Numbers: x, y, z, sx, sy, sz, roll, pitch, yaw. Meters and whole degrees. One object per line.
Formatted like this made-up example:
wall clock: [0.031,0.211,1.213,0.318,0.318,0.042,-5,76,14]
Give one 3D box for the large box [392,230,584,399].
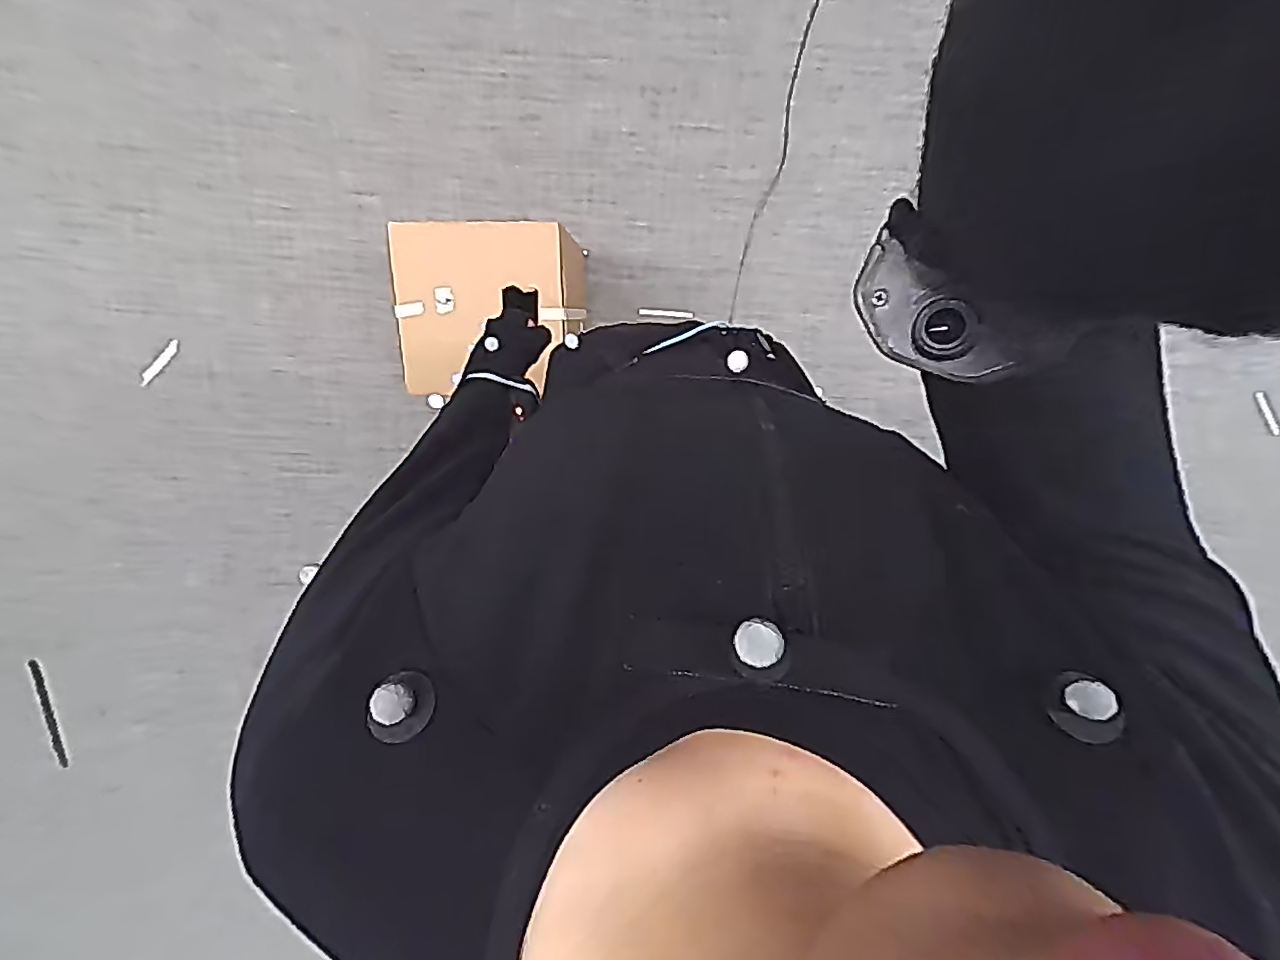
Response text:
large box: [-0.301,-0.365,1.201,0.320,0.408,0.320,1,108,-1]
